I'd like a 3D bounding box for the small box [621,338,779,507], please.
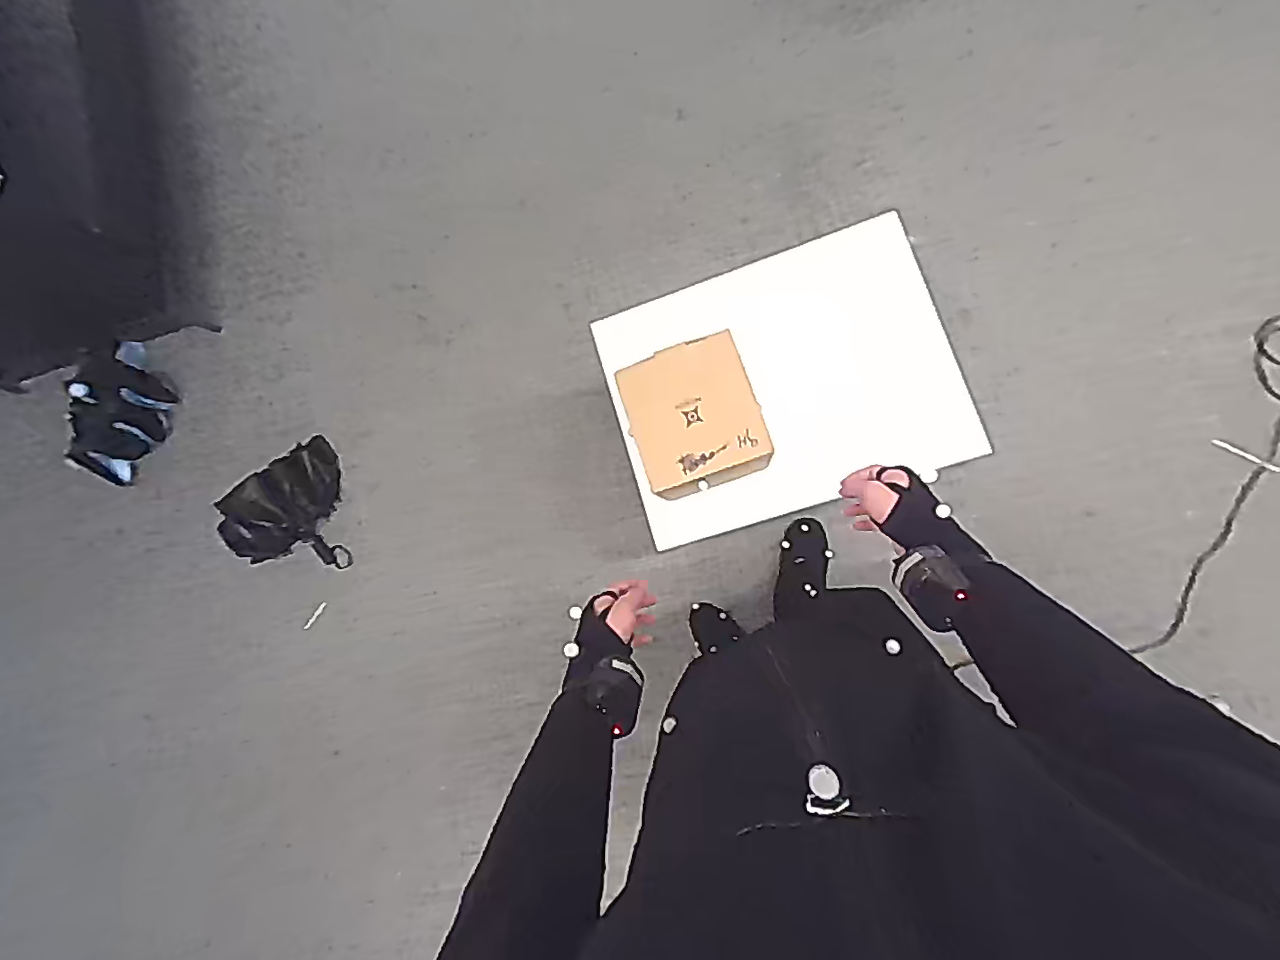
[{"bbox_3d":[0.088,-0.070,0.775,0.168,0.176,0.179,-19,80,9],"label":"small box"}]
